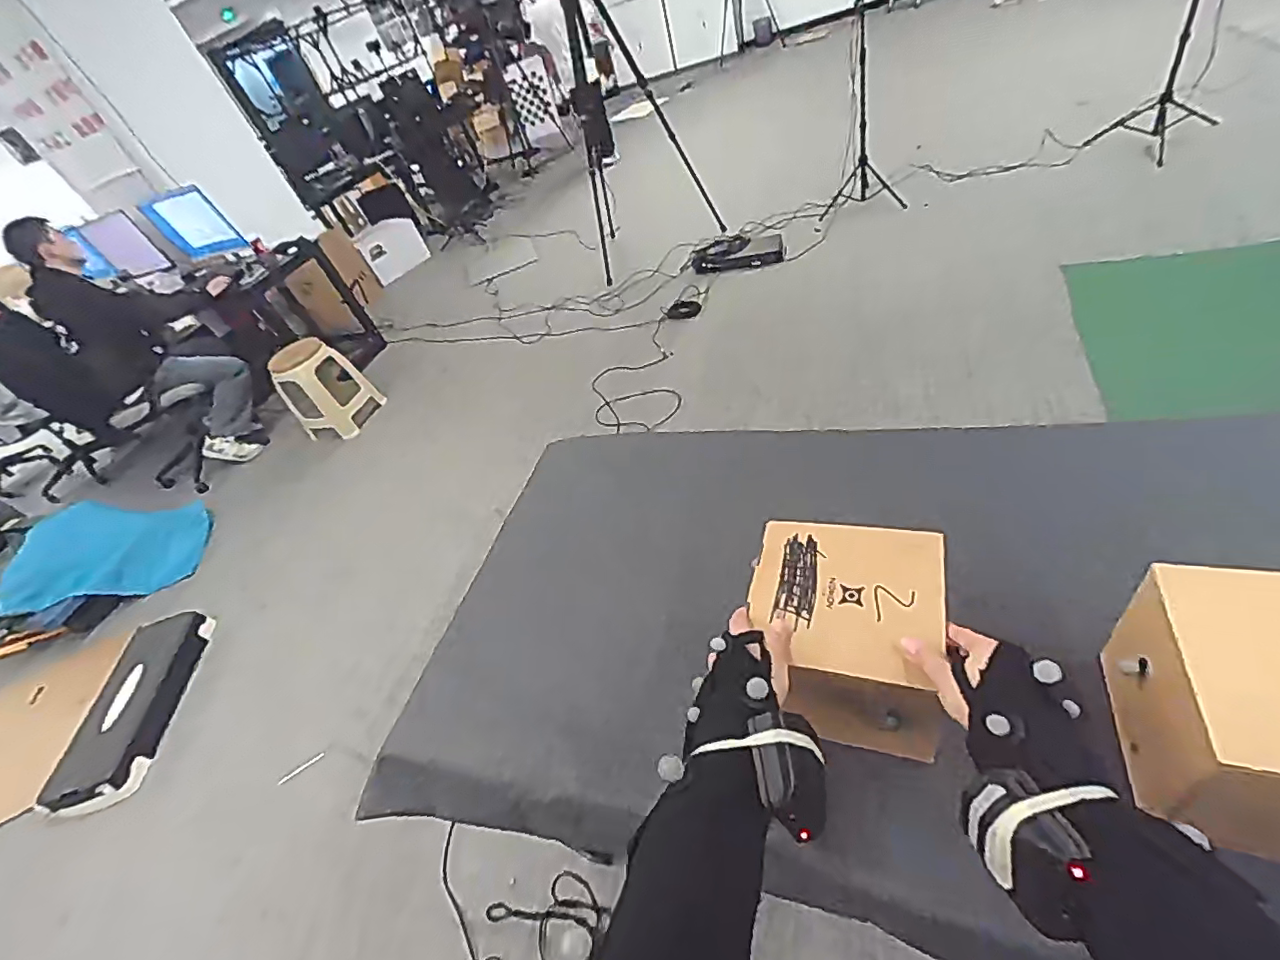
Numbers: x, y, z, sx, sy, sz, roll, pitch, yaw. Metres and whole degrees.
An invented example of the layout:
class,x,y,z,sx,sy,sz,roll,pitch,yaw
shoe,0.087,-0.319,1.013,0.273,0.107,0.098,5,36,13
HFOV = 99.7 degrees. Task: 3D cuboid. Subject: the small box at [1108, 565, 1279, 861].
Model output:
class,x,y,z,sx,sy,sz,roll,pitch,yaw
small box,0.504,0.188,0.423,0.179,0.176,0.168,2,47,25
